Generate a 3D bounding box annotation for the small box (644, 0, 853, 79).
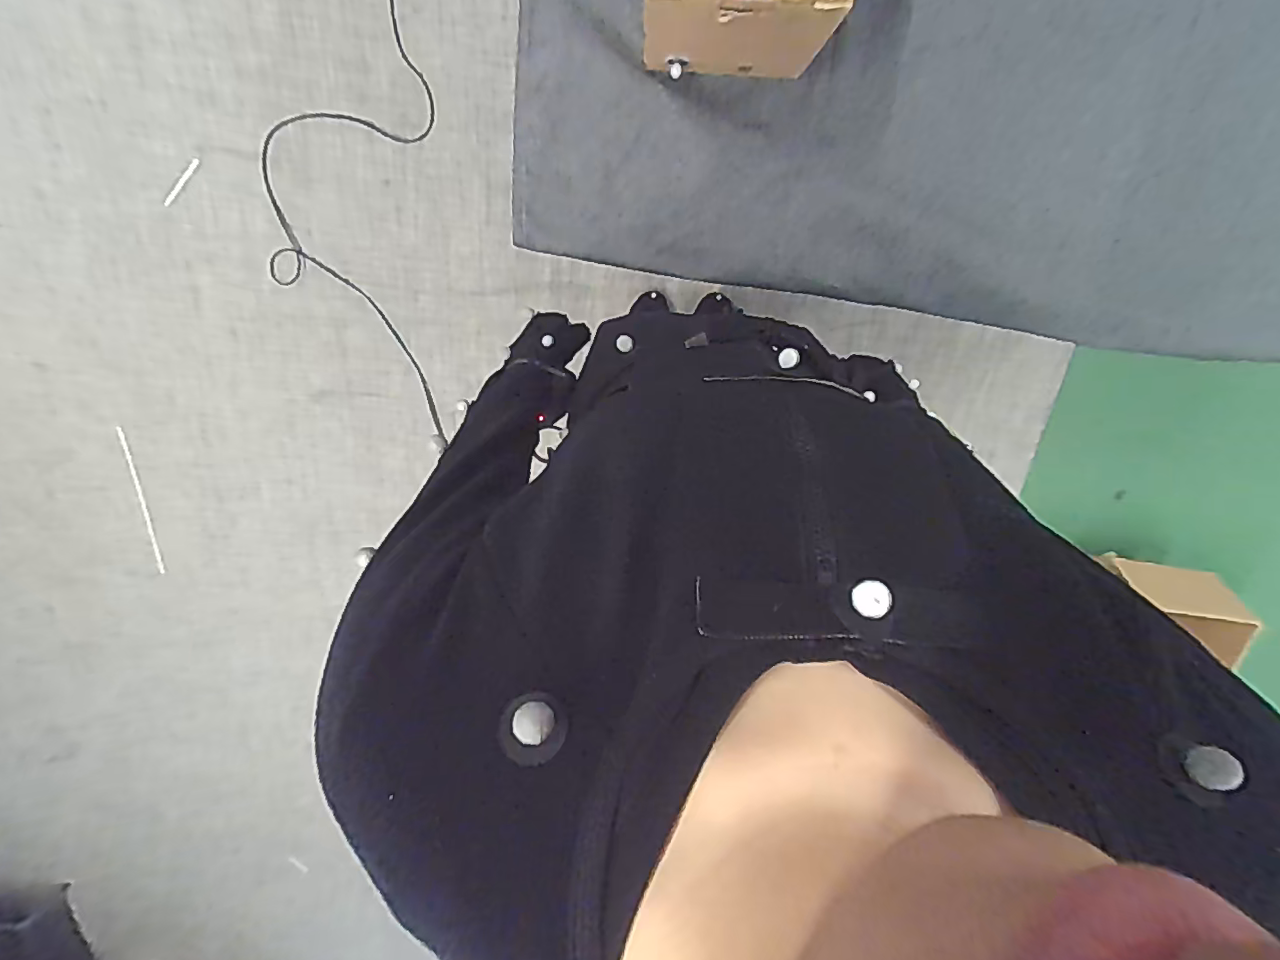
[{"bbox_3d":[0.092,-0.476,0.465,0.168,0.176,0.179,3,110,0],"label":"small box"}]
